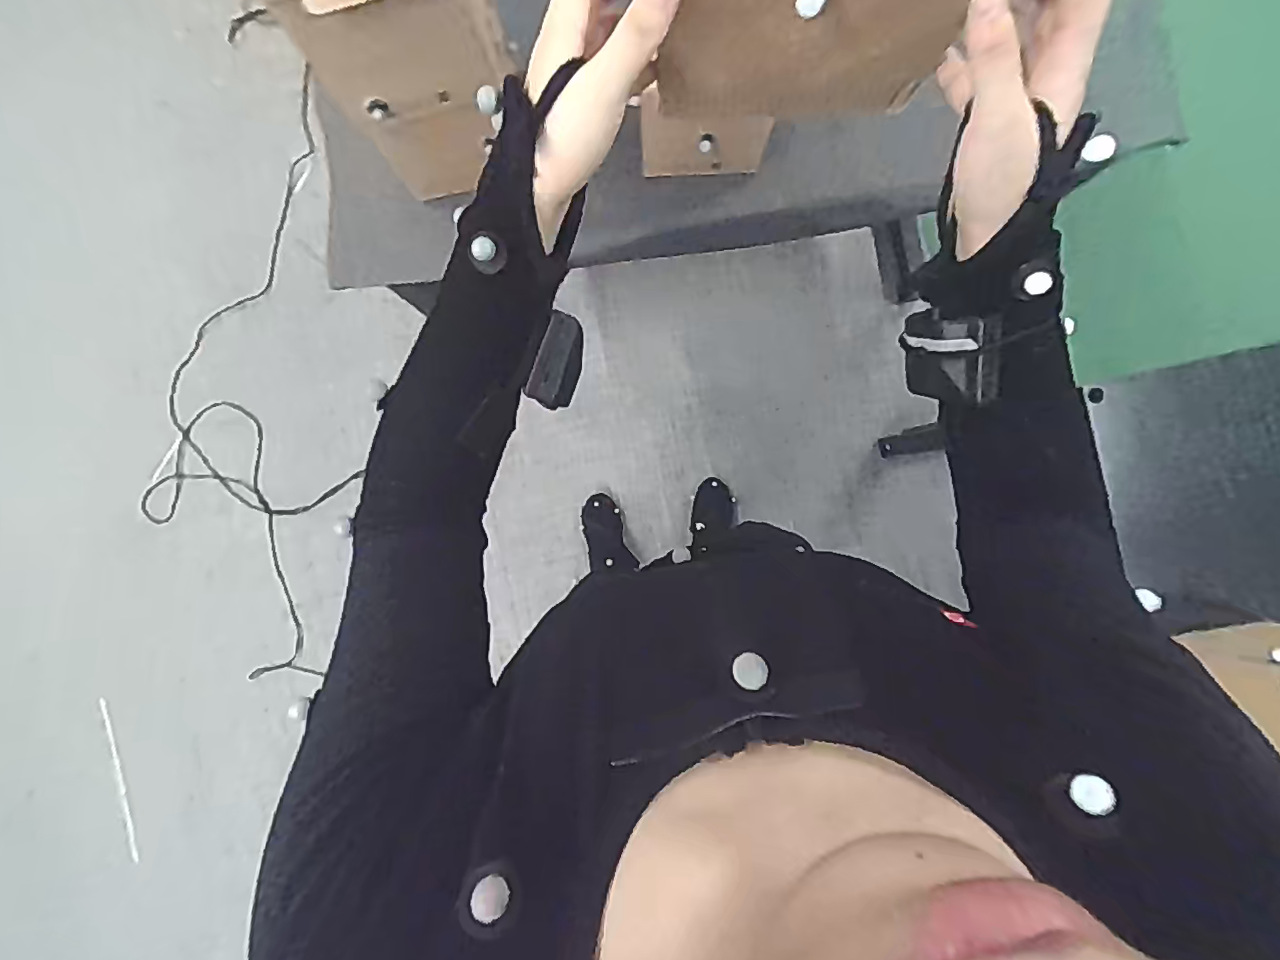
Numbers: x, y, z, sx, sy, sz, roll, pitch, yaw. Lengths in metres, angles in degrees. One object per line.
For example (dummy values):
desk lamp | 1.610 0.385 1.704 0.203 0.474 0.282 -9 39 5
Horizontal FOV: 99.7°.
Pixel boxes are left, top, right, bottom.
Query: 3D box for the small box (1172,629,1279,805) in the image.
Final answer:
small box | 0.814 0.294 0.664 0.179 0.176 0.168 -9 90 2

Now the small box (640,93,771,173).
small box | 0.085 -0.521 0.695 0.168 0.176 0.179 -2 88 2

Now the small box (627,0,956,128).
small box | 0.083 -0.329 0.305 0.179 0.176 0.168 0 96 5

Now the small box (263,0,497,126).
small box | -0.260 -0.496 0.542 0.168 0.176 0.179 -16 86 0

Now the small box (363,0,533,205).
small box | -0.247 -0.494 0.706 0.179 0.176 0.168 -12 87 2
